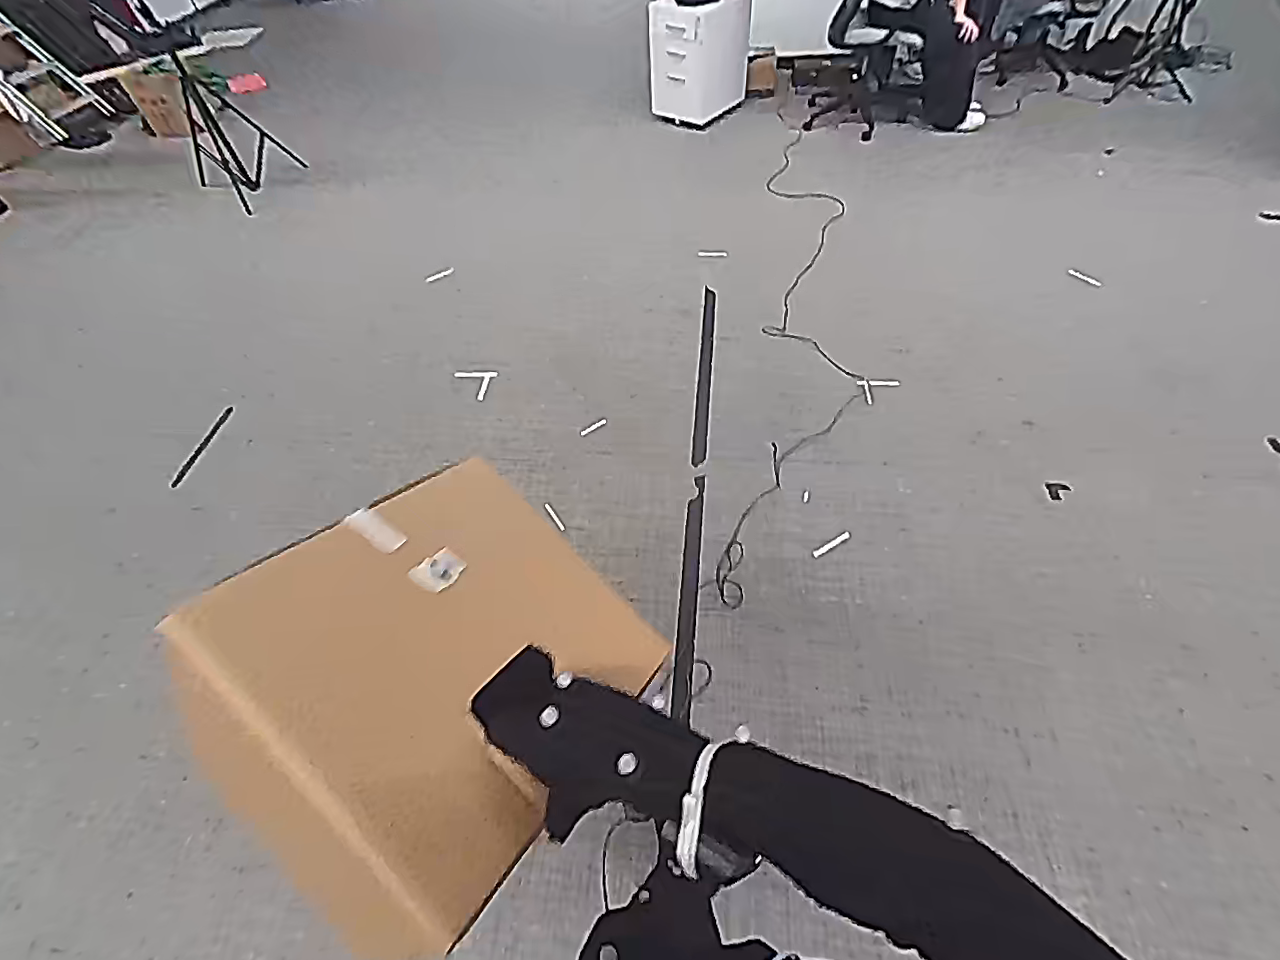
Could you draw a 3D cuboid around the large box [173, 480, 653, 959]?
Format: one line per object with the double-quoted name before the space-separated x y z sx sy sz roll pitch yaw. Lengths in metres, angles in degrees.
"large box" -0.258 0.274 0.625 0.320 0.408 0.320 44 40 7
